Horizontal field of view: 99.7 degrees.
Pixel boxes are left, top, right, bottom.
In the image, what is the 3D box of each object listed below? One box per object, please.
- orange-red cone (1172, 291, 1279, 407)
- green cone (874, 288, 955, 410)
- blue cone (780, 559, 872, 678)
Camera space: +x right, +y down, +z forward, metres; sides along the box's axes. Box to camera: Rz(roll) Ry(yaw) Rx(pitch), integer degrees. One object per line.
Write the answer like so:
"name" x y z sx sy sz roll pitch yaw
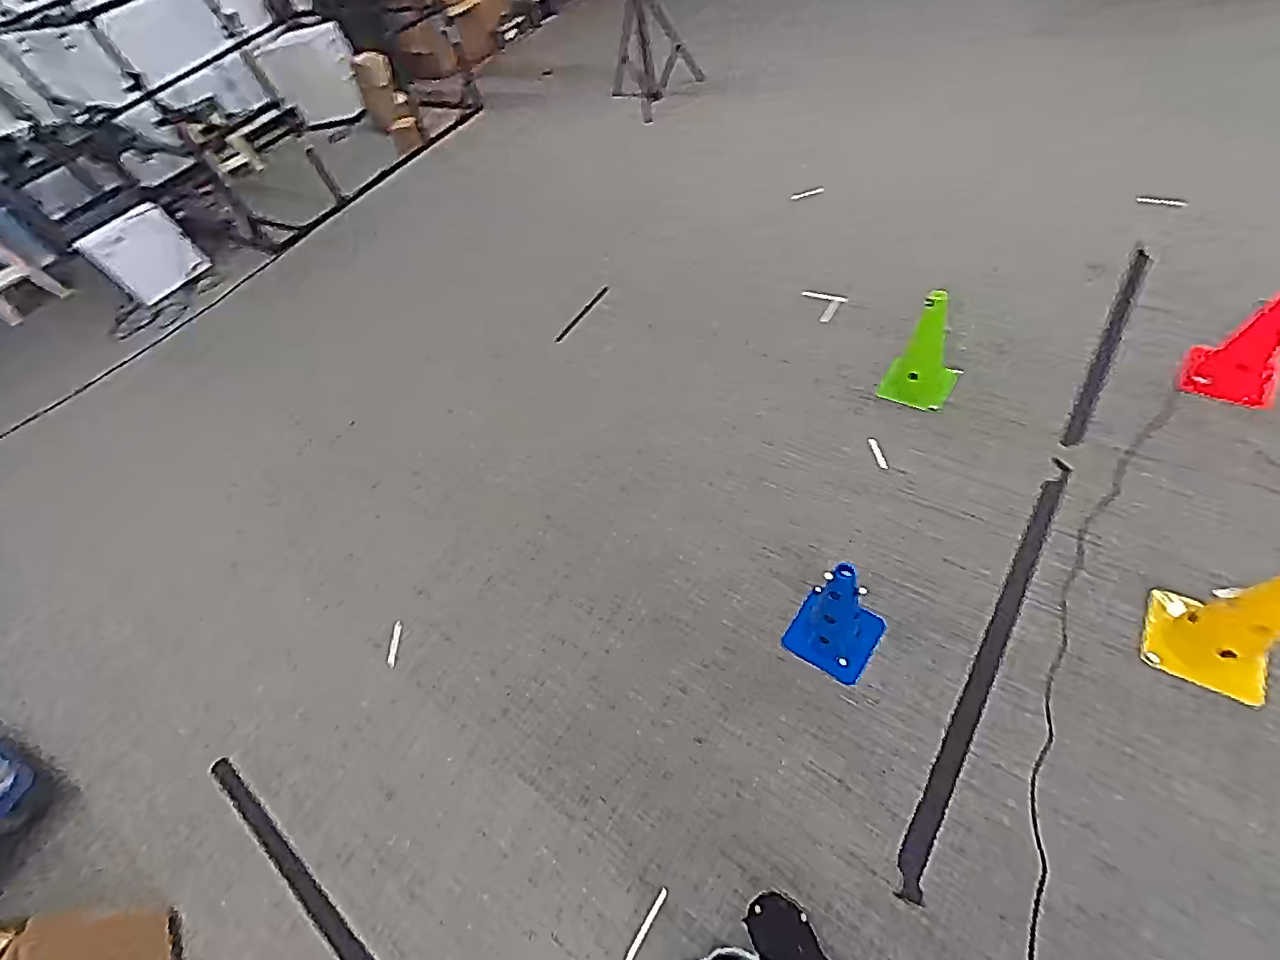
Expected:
"orange-red cone" 1.646 -0.397 1.422 0.199 0.360 0.198 30 68 30
"green cone" 0.864 -0.422 1.648 0.202 0.368 0.200 24 64 30
"blue cone" 0.439 0.292 1.255 0.192 0.380 0.193 28 65 31
